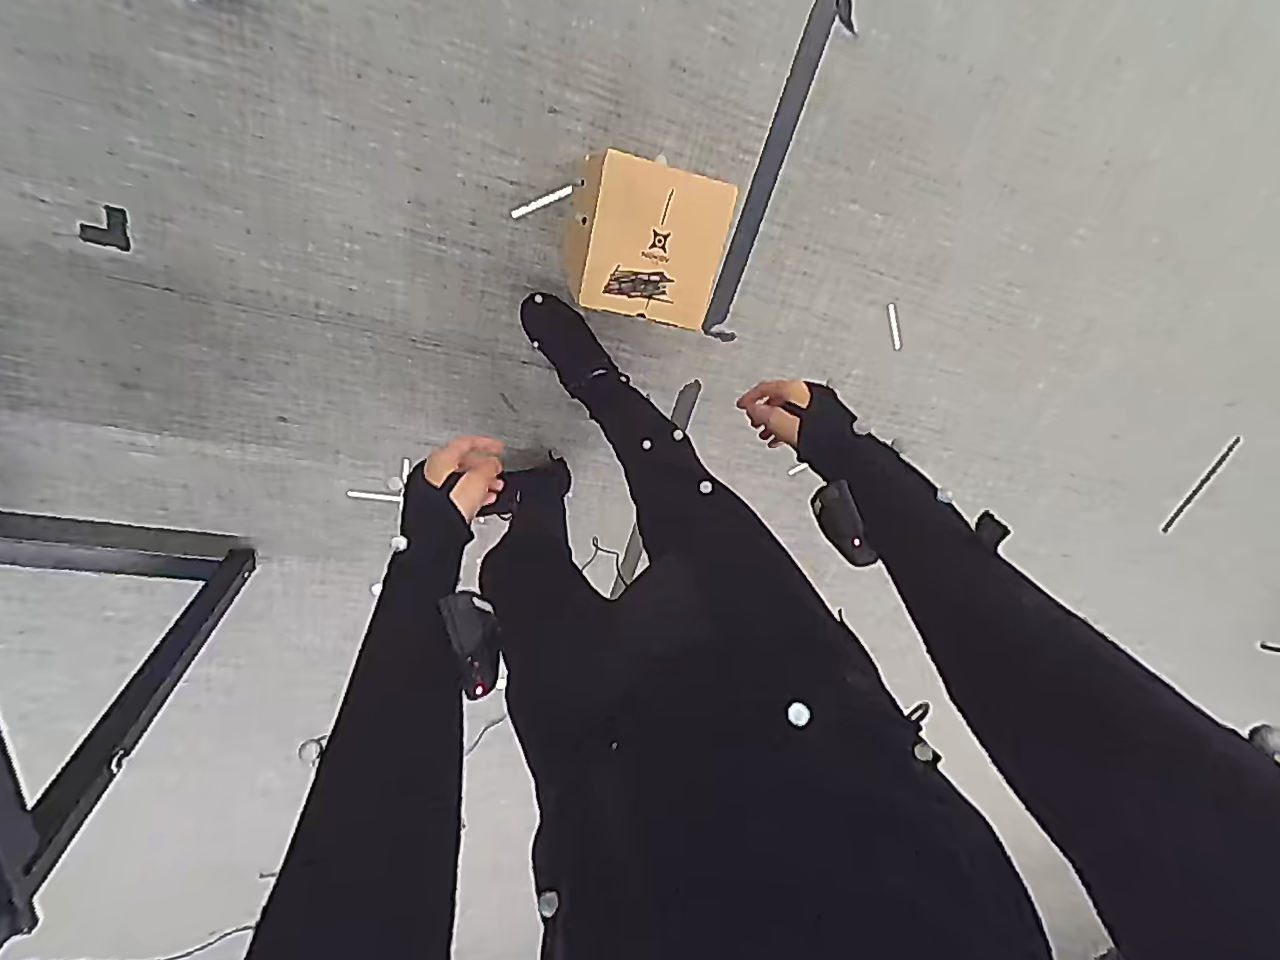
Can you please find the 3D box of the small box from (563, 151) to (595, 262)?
[{"bbox_3d":[-0.044,-0.484,1.000,0.168,0.176,0.179,9,118,-16],"label":"small box"}]

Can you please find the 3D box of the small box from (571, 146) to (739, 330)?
[{"bbox_3d":[0.006,-0.320,0.719,0.168,0.176,0.179,7,117,-17],"label":"small box"}]
